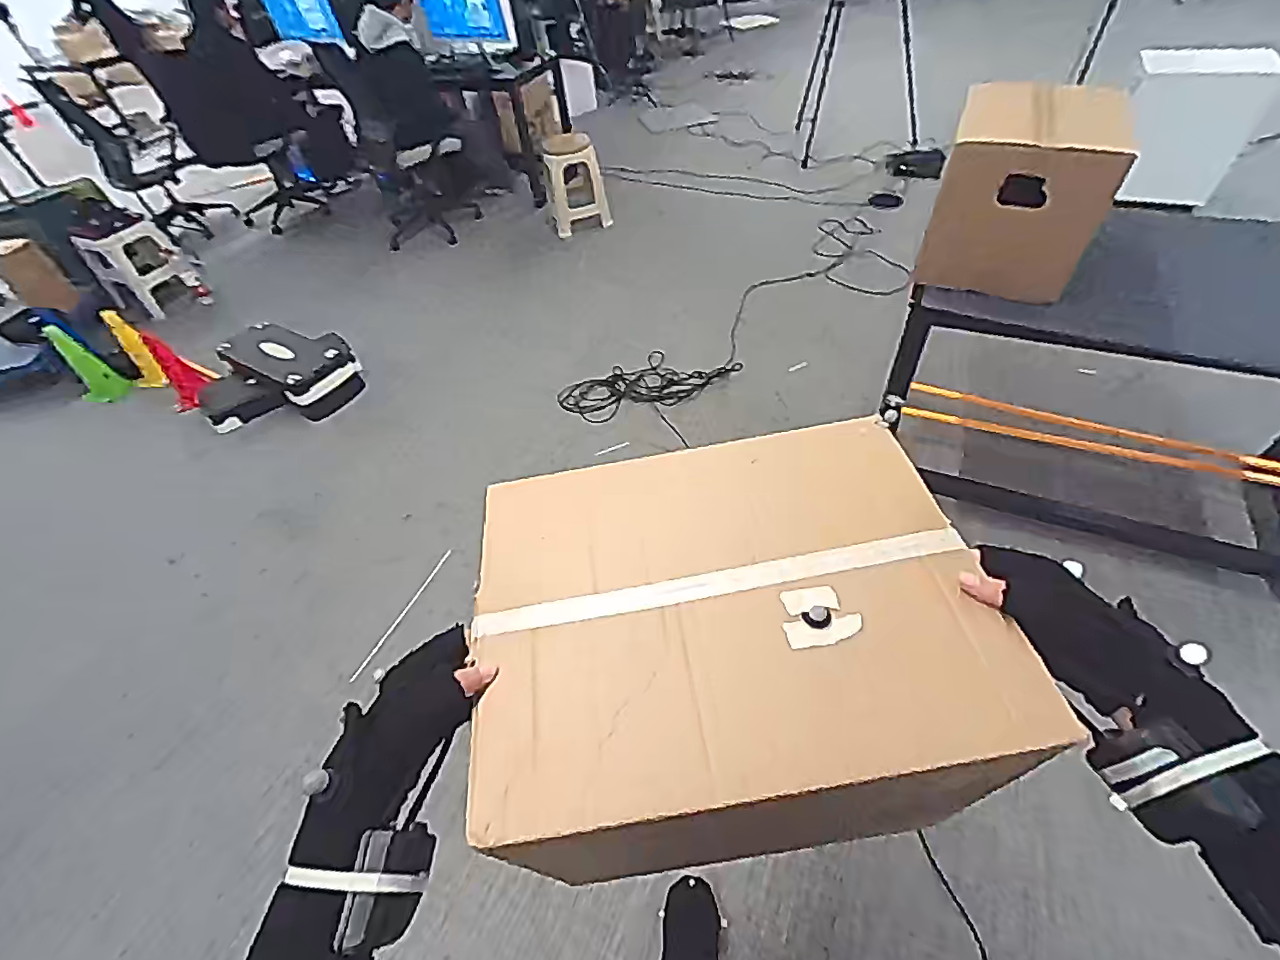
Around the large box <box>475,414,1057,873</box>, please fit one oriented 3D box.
[{"bbox_3d":[0.078,0.176,0.563,0.408,0.320,0.320,-10,50,-1],"label":"large box"}]
